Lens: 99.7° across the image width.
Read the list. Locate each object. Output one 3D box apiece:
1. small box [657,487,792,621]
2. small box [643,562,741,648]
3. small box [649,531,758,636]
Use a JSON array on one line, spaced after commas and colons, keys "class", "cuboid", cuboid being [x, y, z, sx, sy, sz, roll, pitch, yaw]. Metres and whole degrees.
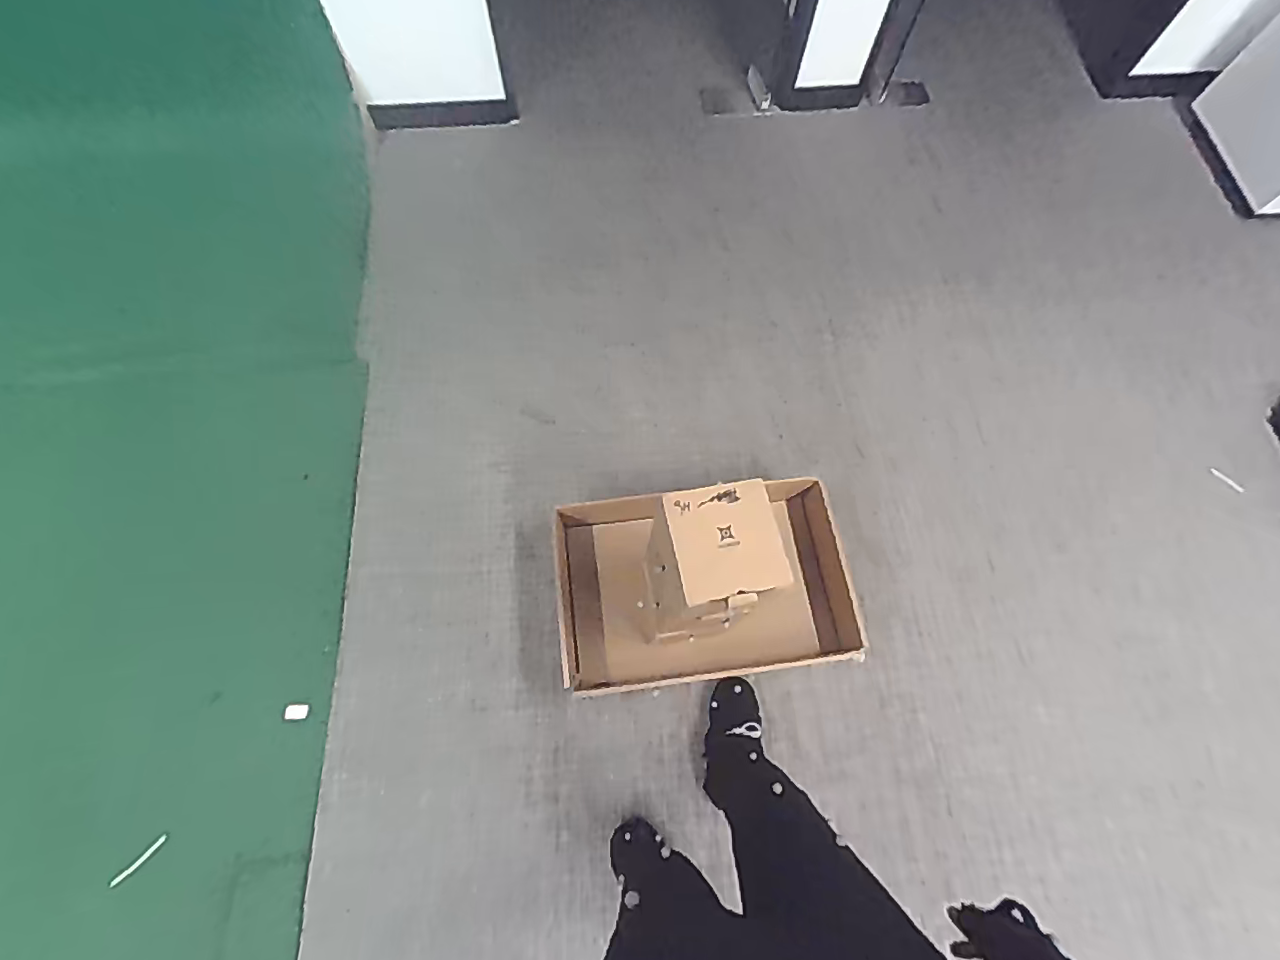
[{"class": "small box", "cuboid": [0.126, 0.129, 0.884, 0.168, 0.176, 0.179, -8, 69, -7]}, {"class": "small box", "cuboid": [0.105, 0.266, 1.177, 0.179, 0.176, 0.168, -8, 68, -4]}, {"class": "small box", "cuboid": [0.112, 0.197, 1.032, 0.168, 0.176, 0.179, -6, 67, -6]}]
